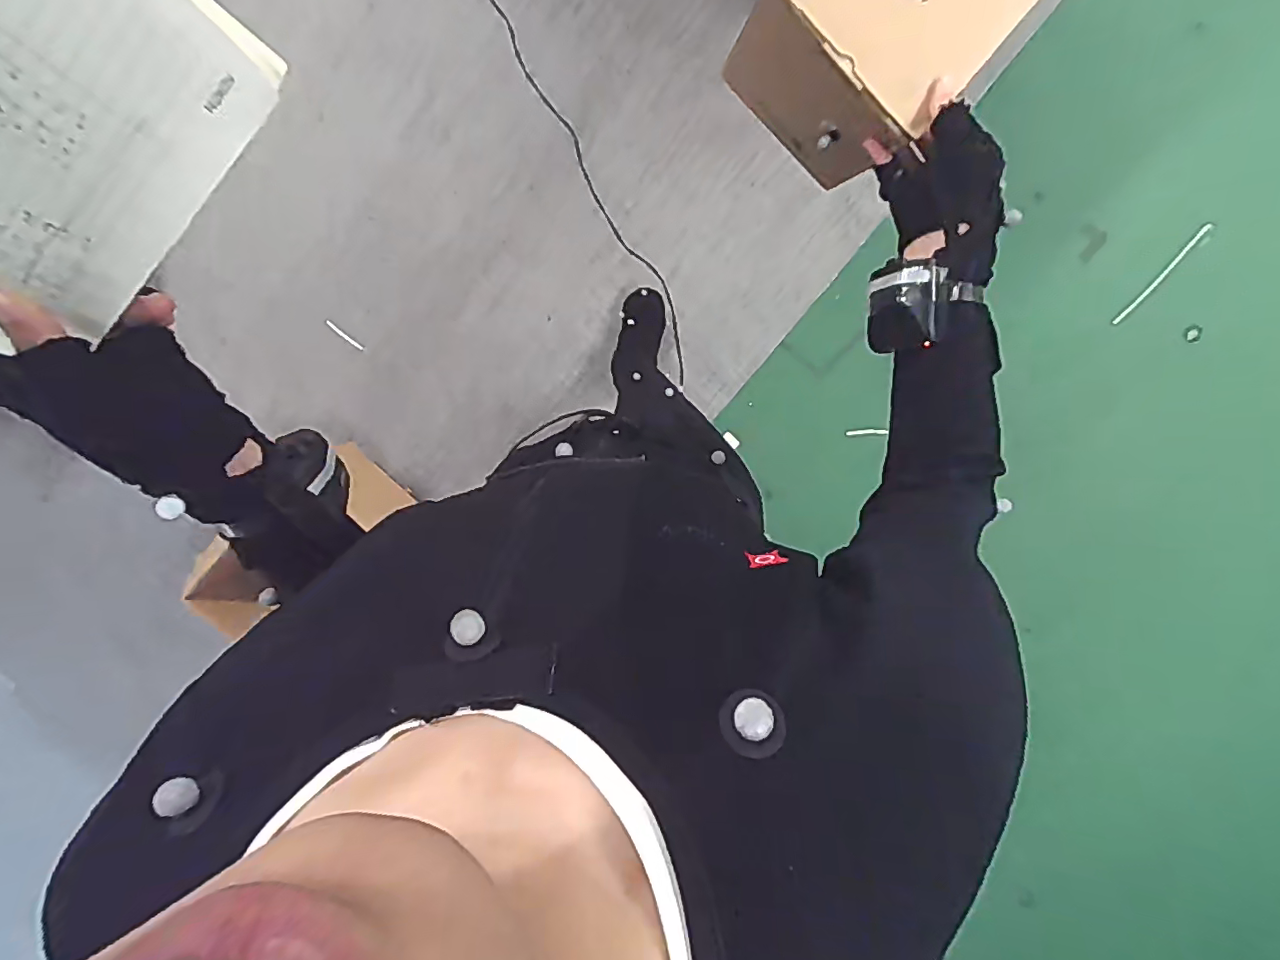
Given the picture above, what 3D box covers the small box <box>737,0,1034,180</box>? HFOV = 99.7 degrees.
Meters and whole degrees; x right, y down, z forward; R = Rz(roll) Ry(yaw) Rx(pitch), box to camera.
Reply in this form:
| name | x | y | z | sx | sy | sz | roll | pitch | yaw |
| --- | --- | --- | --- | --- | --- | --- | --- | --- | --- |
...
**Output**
| name | x | y | z | sx | sy | sz | roll | pitch | yaw |
| --- | --- | --- | --- | --- | --- | --- | --- | --- | --- |
| small box | 0.205 | -0.406 | 0.478 | 0.168 | 0.176 | 0.179 | 39 | 99 | -15 |
